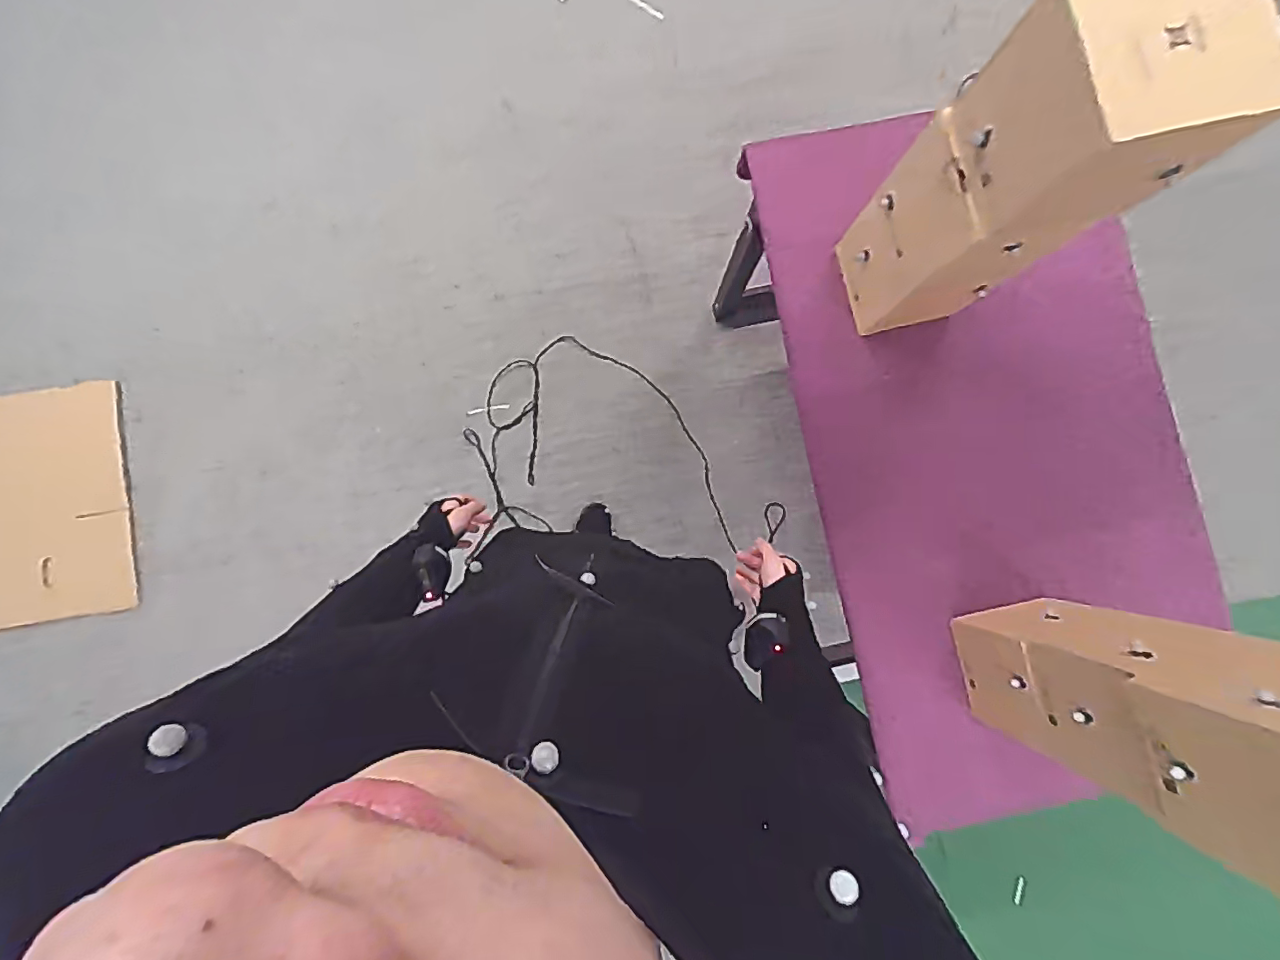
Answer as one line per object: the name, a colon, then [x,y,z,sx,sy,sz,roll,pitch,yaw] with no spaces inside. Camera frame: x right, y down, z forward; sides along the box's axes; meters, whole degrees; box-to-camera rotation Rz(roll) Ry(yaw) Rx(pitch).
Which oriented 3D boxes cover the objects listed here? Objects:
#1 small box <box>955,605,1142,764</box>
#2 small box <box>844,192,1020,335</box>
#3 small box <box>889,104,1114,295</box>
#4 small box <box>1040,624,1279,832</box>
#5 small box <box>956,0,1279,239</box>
small box: [0.625,0.296,0.820,0.179,0.176,0.168,-12,85,-3]
small box: [0.447,-0.349,0.863,0.179,0.176,0.168,-14,86,-2]
small box: [0.448,-0.359,0.699,0.179,0.176,0.168,-13,87,-3]
small box: [0.630,0.283,0.655,0.179,0.176,0.168,-10,86,-2]
small box: [0.460,-0.369,0.536,0.179,0.176,0.168,-12,86,-2]
